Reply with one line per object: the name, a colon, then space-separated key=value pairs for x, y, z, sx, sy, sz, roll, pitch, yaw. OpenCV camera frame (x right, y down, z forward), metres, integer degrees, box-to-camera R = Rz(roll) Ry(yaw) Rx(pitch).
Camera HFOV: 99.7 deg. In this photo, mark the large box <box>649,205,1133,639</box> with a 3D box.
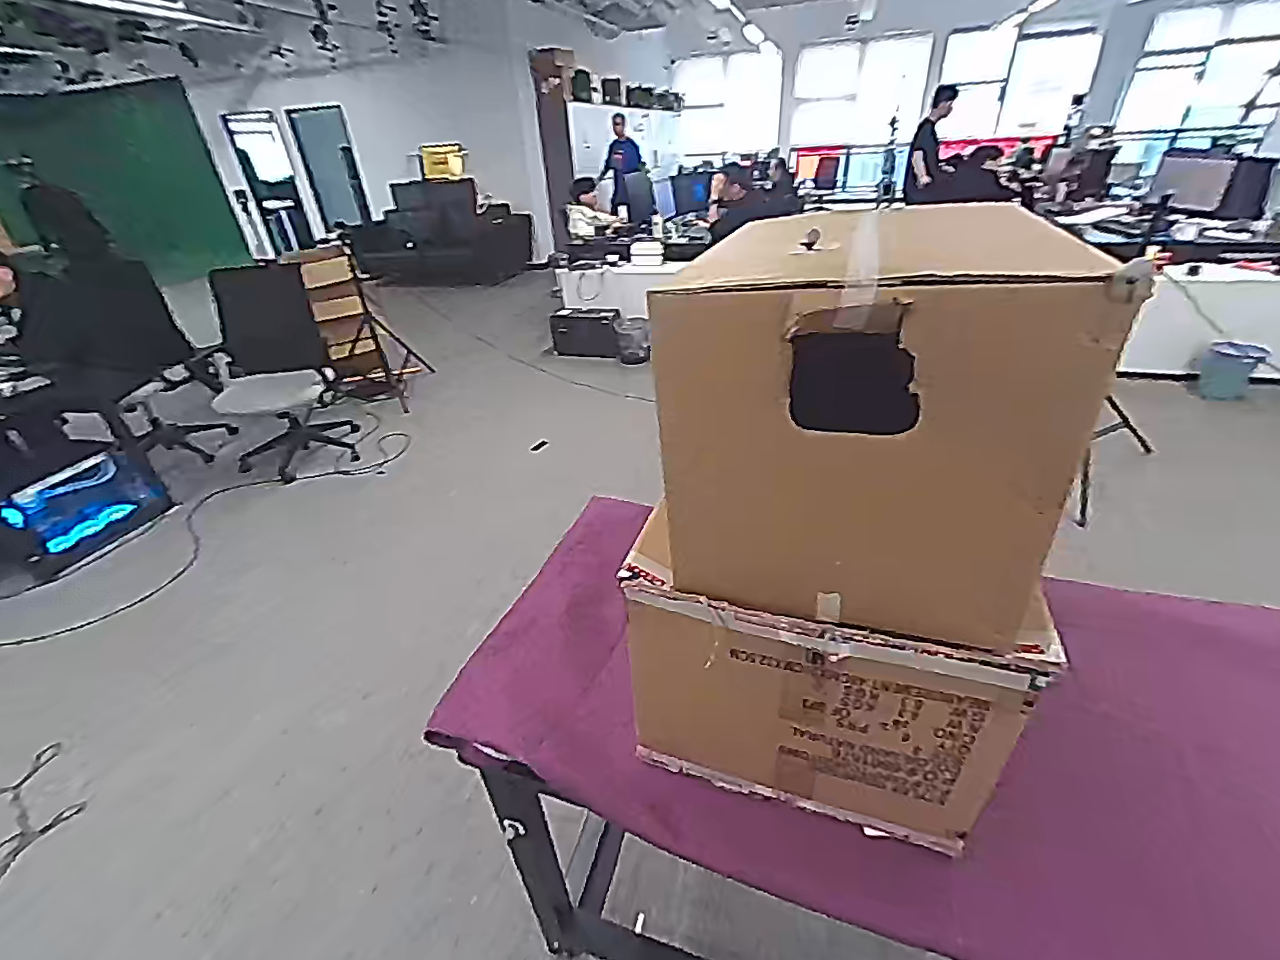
large box: x=0.227 y=-0.100 z=0.599 sx=0.320 sy=0.320 sz=0.408 roll=4 pitch=33 yaw=21
